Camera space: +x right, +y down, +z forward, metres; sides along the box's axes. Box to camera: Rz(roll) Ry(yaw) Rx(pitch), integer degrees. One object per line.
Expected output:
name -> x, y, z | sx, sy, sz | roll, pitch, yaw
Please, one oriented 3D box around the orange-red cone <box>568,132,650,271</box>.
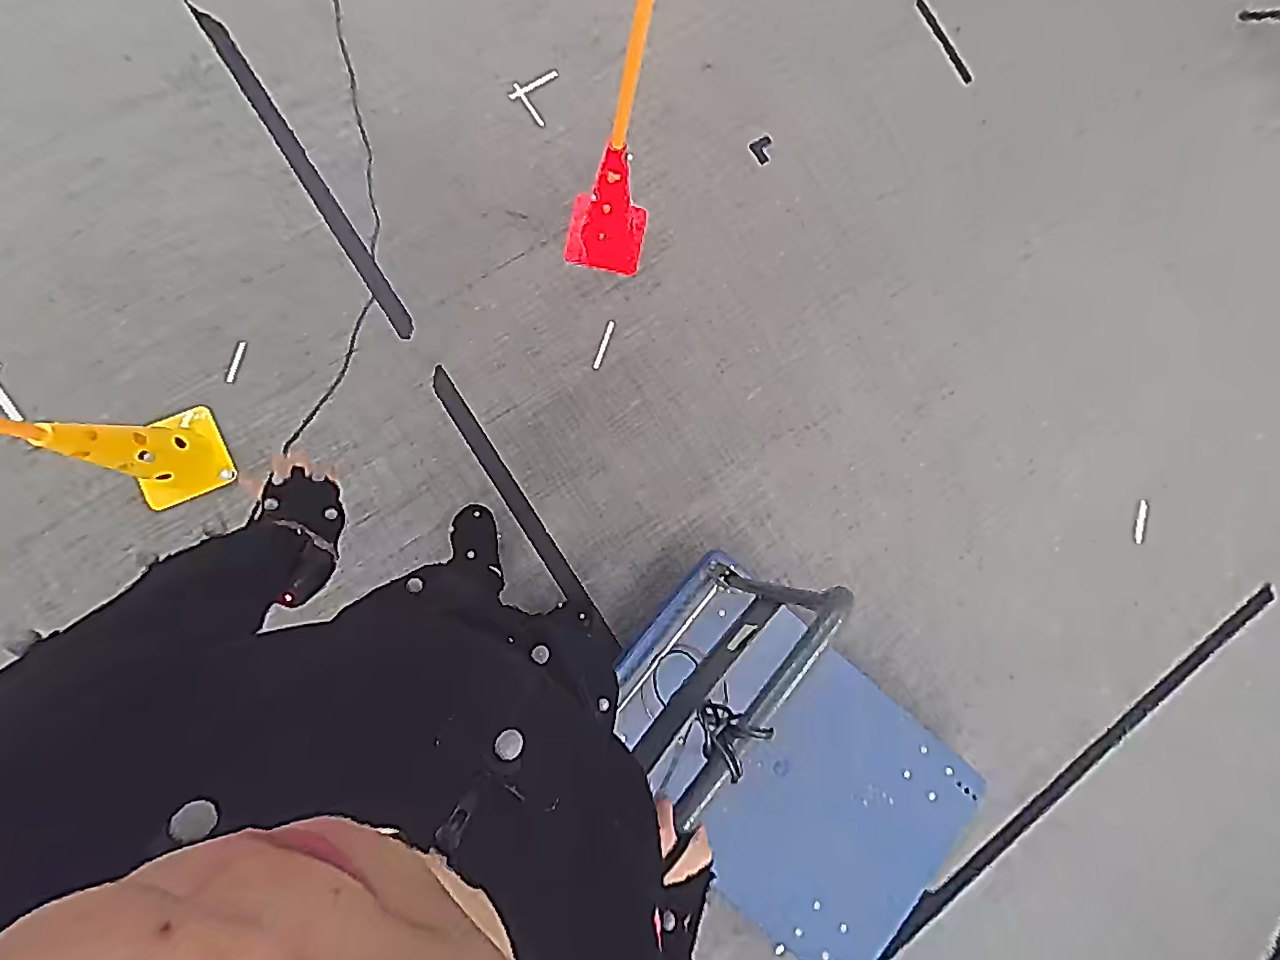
orange-red cone -> -0.064, -0.687, 1.289 | 0.198, 0.360, 0.199 | 12, 85, -5
